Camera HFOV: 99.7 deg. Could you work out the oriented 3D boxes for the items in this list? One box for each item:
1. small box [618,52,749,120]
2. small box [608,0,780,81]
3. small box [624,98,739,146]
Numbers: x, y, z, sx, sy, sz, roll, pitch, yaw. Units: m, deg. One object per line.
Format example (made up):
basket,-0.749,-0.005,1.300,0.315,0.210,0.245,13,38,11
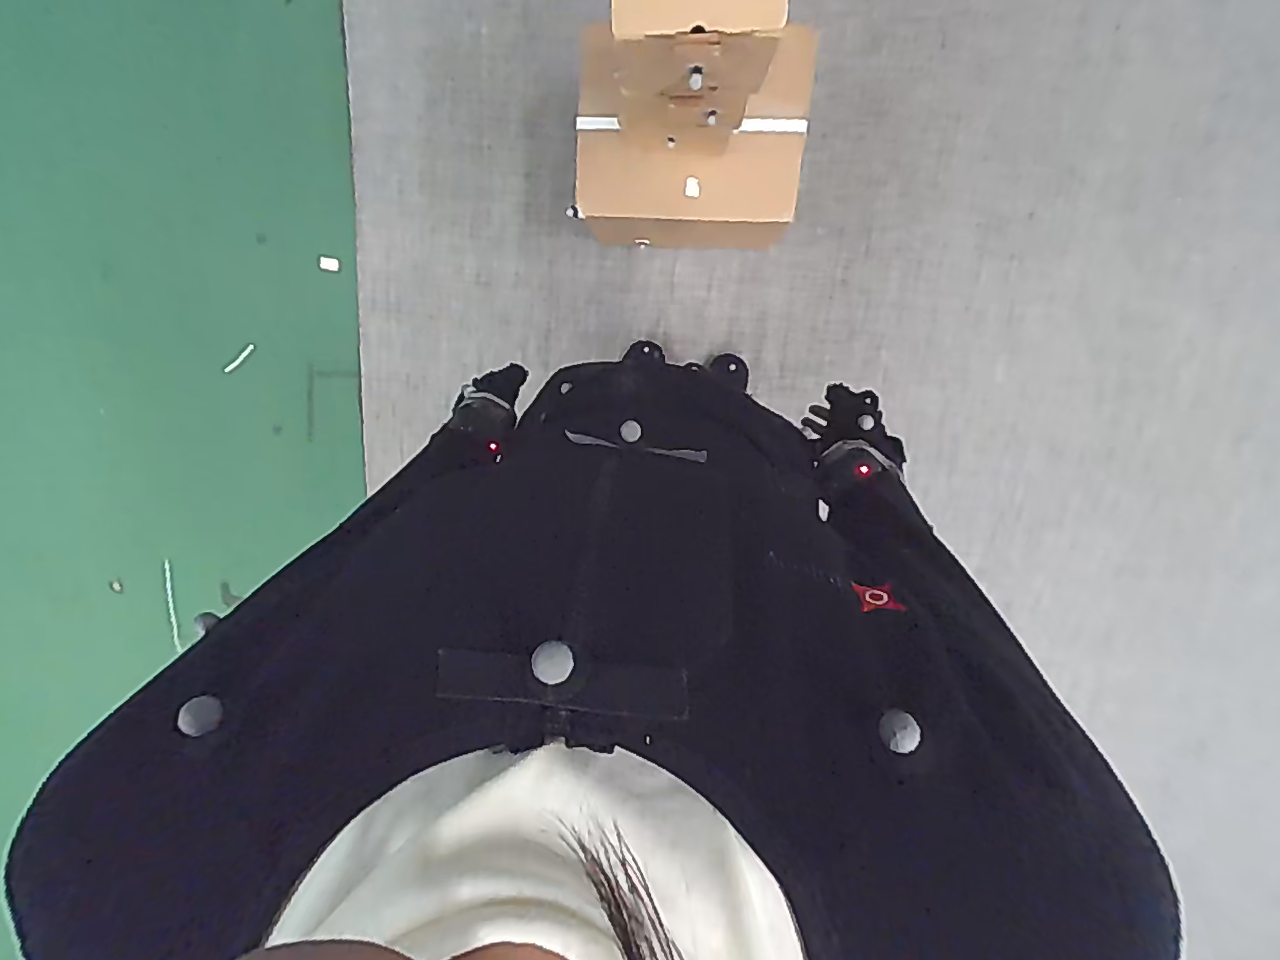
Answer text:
small box,0.062,-0.592,0.711,0.168,0.176,0.179,1,110,4
small box,0.059,-0.535,0.558,0.168,0.176,0.179,2,112,5
small box,0.071,-0.647,0.864,0.179,0.176,0.168,4,112,4
